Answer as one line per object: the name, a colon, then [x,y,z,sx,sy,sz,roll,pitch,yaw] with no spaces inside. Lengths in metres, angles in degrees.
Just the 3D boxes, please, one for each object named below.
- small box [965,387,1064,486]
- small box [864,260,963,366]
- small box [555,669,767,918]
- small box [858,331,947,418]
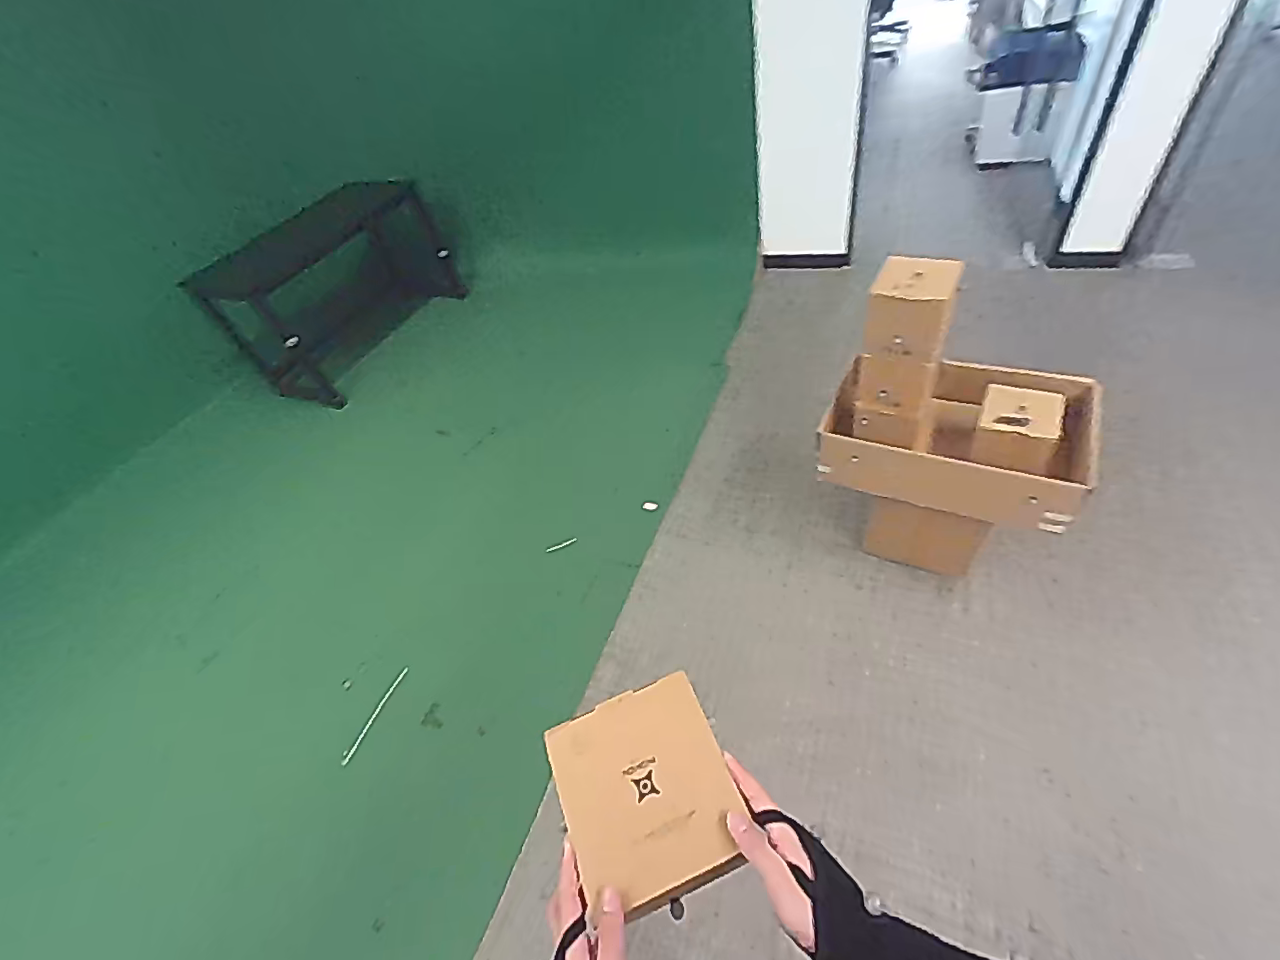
small box: [0.964,-0.111,1.402,0.168,0.176,0.179,17,54,28]
small box: [0.652,-0.404,1.303,0.168,0.176,0.179,18,55,29]
small box: [0.022,0.343,0.591,0.168,0.176,0.179,-21,51,-7]
small box: [0.683,-0.292,1.420,0.168,0.176,0.179,17,55,27]
